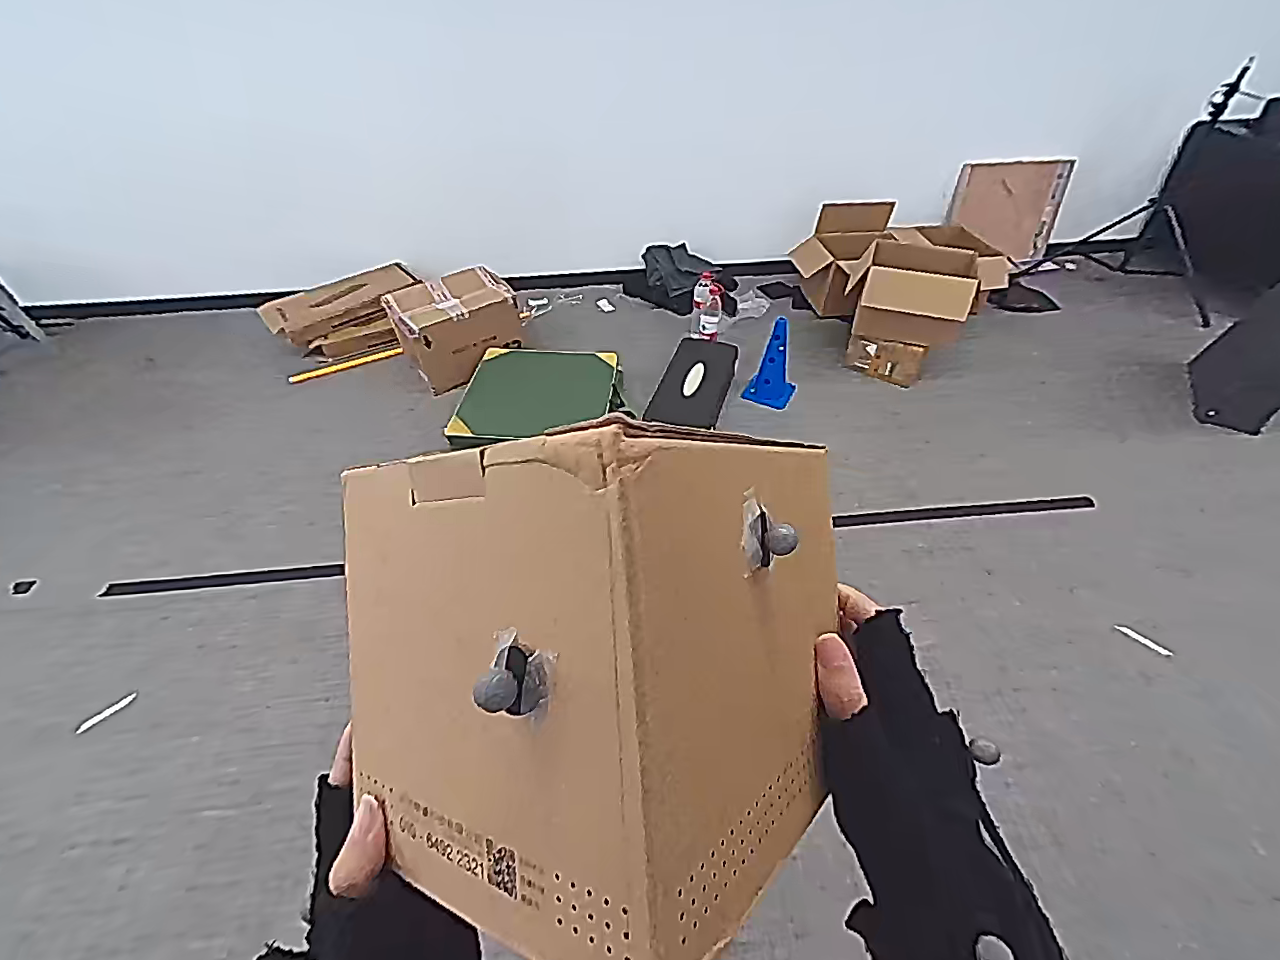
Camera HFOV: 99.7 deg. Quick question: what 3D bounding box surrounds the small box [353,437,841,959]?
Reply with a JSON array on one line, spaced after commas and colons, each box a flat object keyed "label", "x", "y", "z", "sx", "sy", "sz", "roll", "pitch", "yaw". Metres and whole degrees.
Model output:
[{"label": "small box", "x": -0.011, "y": 0.076, "z": 0.263, "sx": 0.168, "sy": 0.176, "sz": 0.179, "roll": -5, "pitch": -3, "yaw": 38}]
